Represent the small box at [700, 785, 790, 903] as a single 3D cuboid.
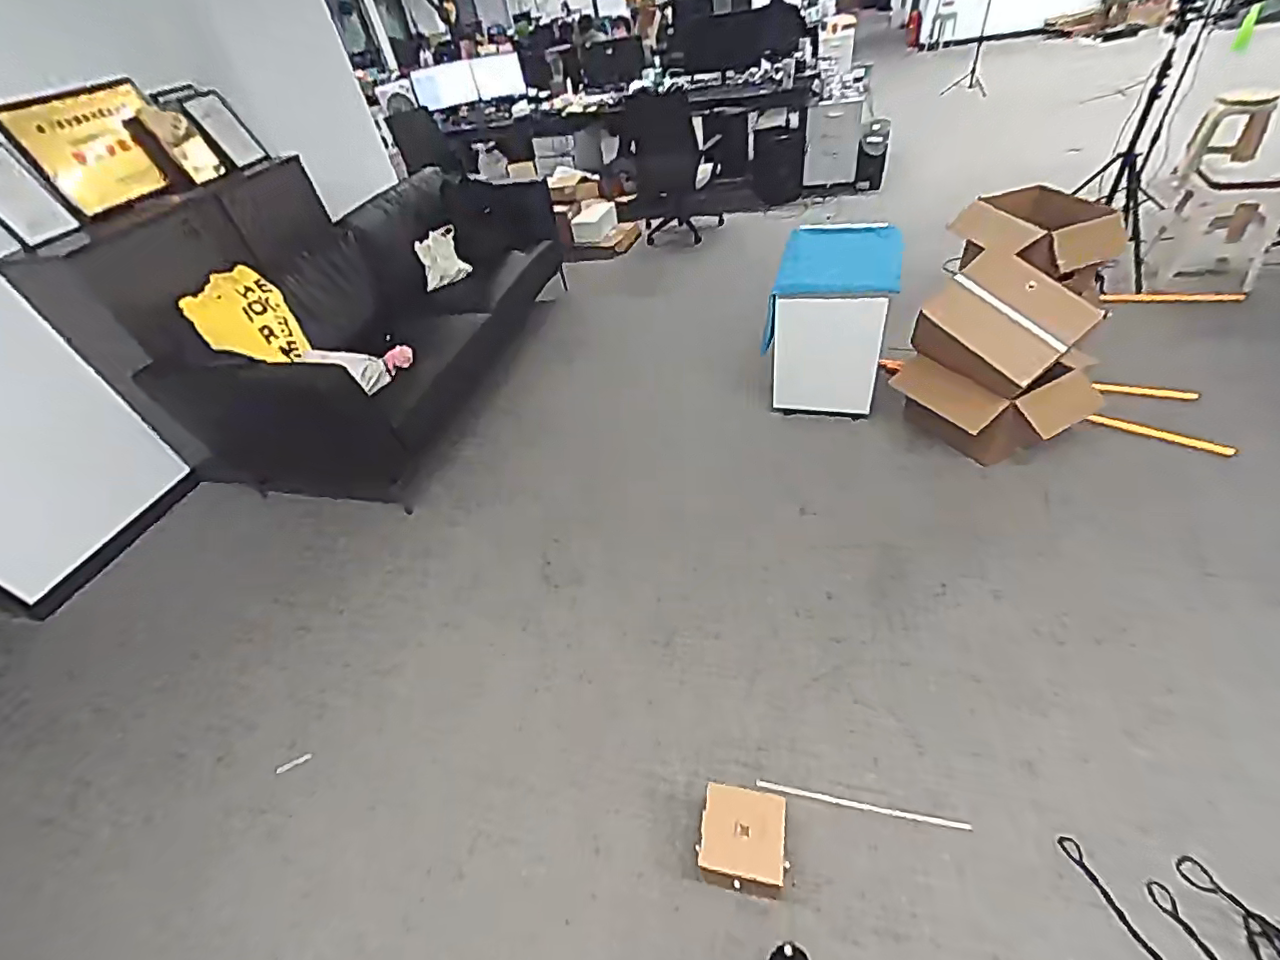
[{"bbox_3d":[0.240,0.812,1.204,0.179,0.176,0.168,3,45,16],"label":"small box"}]
